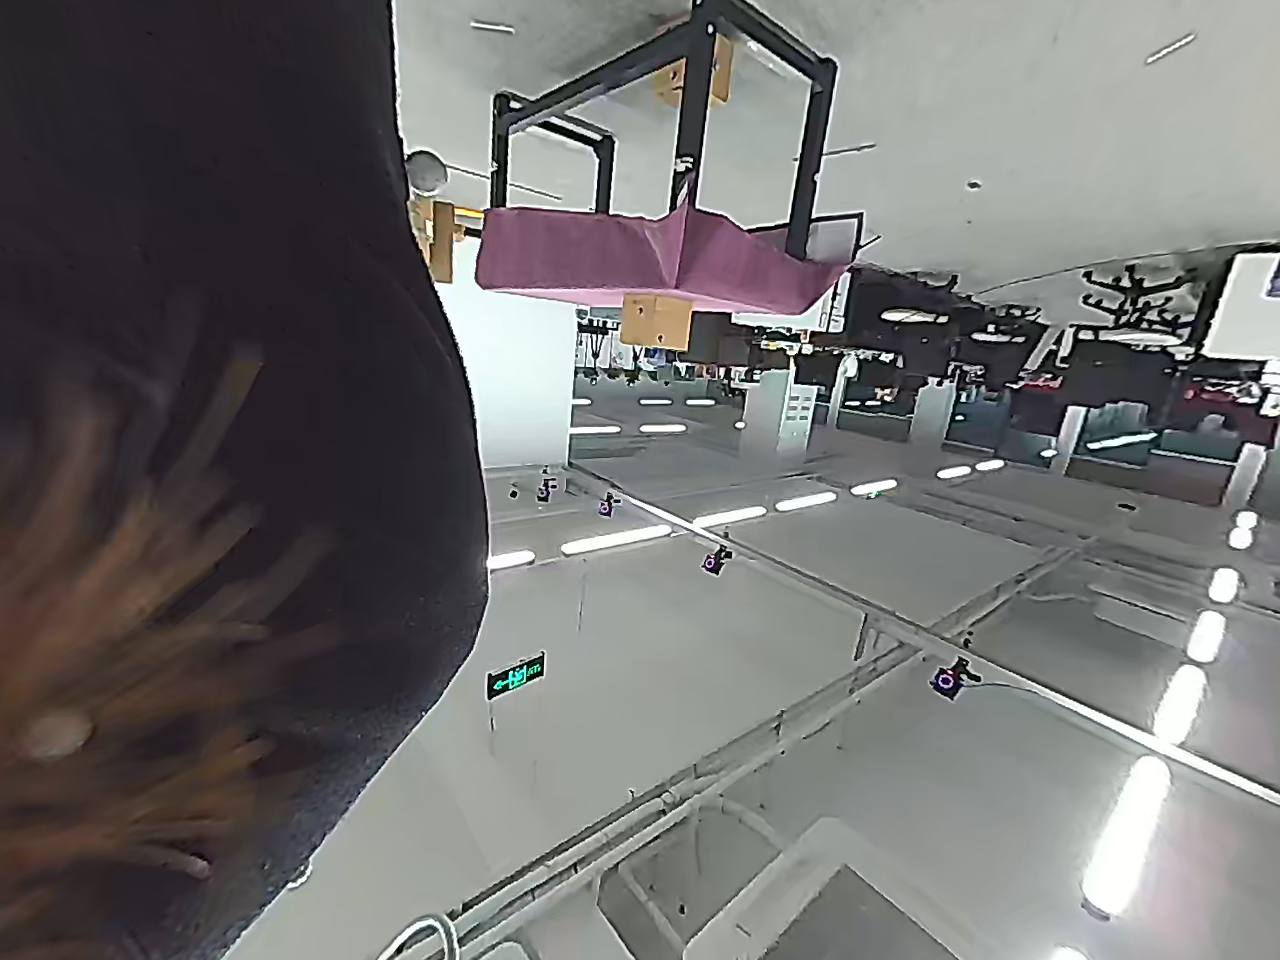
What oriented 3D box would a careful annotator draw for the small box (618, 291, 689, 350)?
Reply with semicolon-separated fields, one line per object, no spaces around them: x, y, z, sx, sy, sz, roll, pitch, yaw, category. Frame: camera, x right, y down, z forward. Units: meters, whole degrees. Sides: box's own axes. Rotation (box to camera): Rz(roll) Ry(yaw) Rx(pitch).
0.048;-0.540;1.833;0.179;0.176;0.168;-6;-161;-40;small box
